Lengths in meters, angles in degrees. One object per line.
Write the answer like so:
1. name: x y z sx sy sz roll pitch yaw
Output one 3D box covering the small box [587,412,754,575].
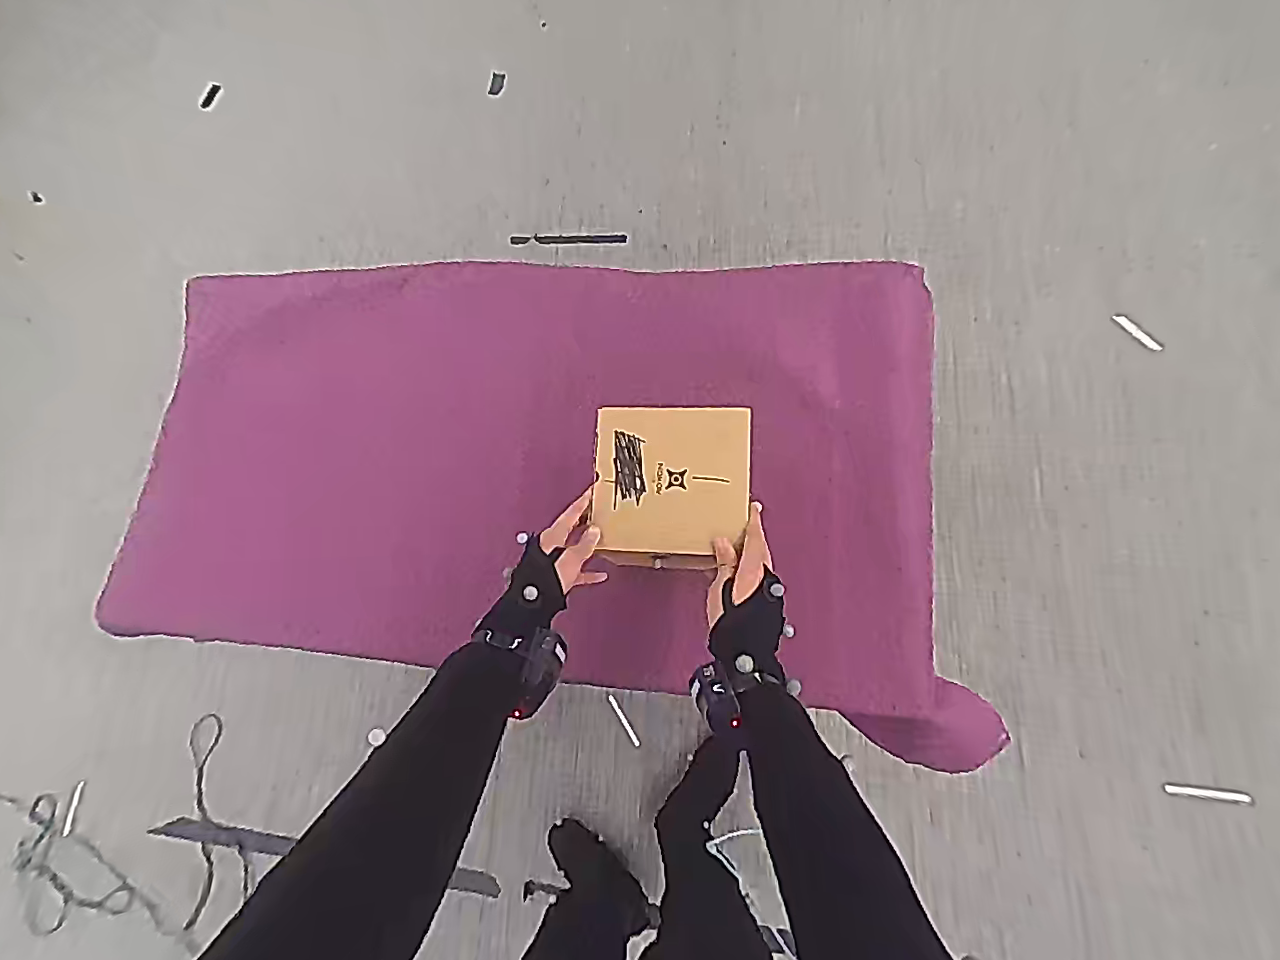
1. small box: 0.047 0.024 0.666 0.179 0.176 0.168 2 76 10
